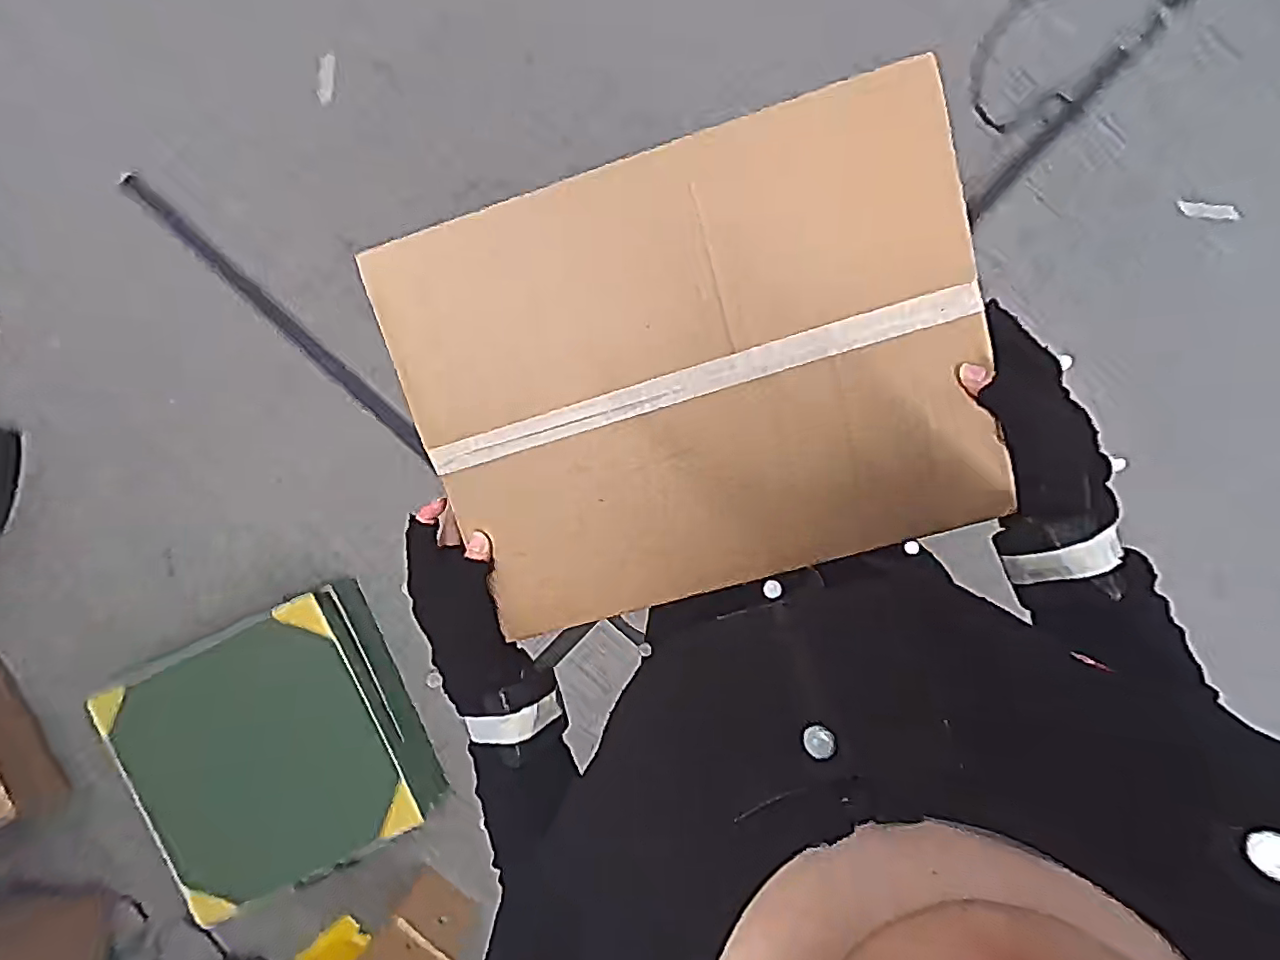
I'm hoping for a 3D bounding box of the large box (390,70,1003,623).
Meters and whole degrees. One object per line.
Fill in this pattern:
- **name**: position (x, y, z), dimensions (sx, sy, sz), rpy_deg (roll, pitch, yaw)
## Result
- **large box**: position (0.051, -0.102, 0.546), dimensions (0.408, 0.320, 0.320), rpy_deg (-14, 101, 7)
